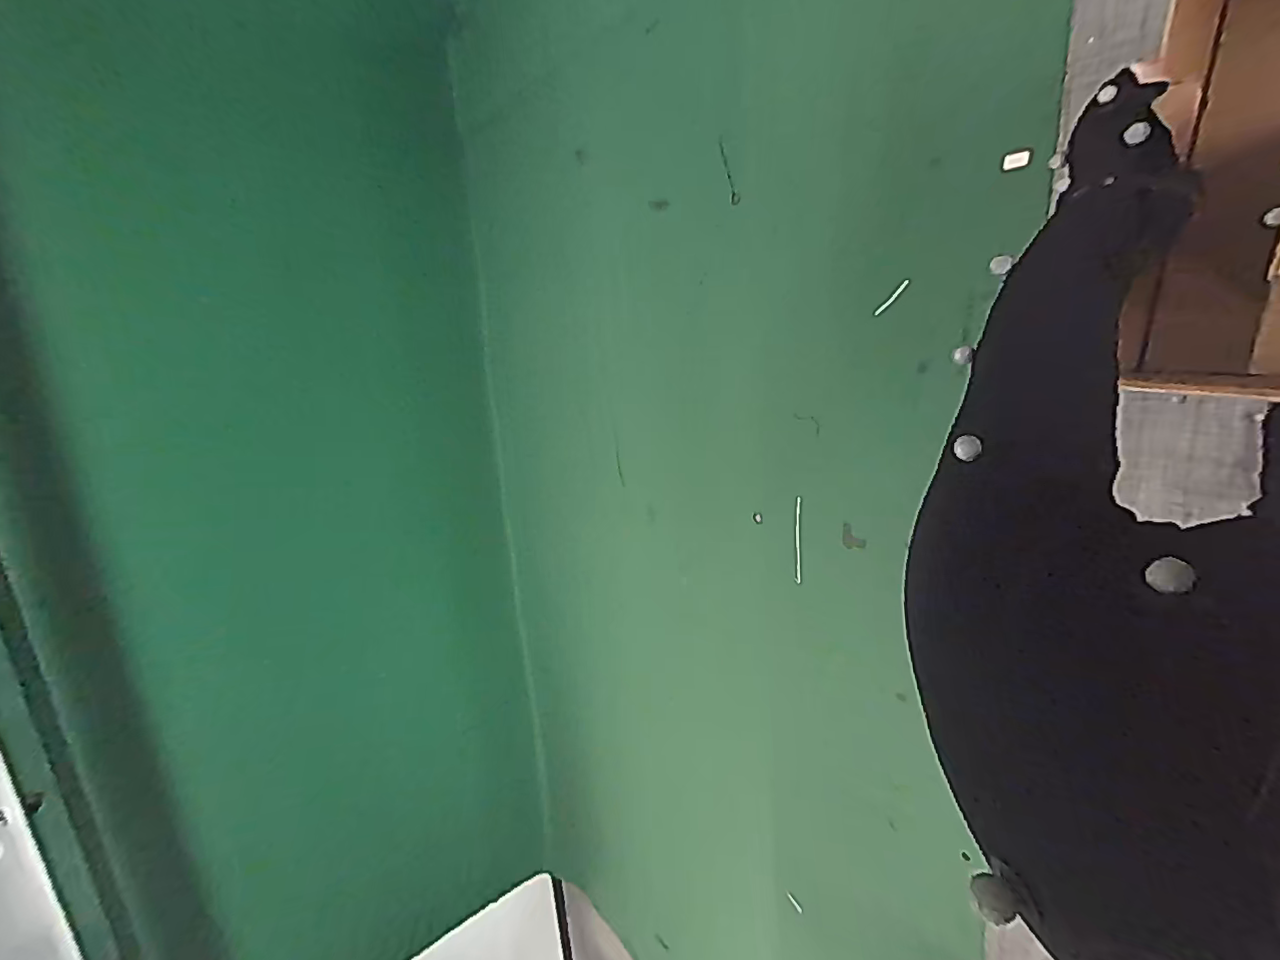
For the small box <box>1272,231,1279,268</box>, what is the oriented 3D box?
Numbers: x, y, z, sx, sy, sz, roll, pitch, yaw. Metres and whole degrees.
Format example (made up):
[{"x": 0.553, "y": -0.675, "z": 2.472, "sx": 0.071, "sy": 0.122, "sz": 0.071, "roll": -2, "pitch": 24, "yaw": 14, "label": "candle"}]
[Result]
[{"x": 0.487, "y": -0.190, "z": 0.279, "sx": 0.179, "sy": 0.176, "sz": 0.168, "roll": 20, "pitch": 114, "yaw": 47, "label": "small box"}]
